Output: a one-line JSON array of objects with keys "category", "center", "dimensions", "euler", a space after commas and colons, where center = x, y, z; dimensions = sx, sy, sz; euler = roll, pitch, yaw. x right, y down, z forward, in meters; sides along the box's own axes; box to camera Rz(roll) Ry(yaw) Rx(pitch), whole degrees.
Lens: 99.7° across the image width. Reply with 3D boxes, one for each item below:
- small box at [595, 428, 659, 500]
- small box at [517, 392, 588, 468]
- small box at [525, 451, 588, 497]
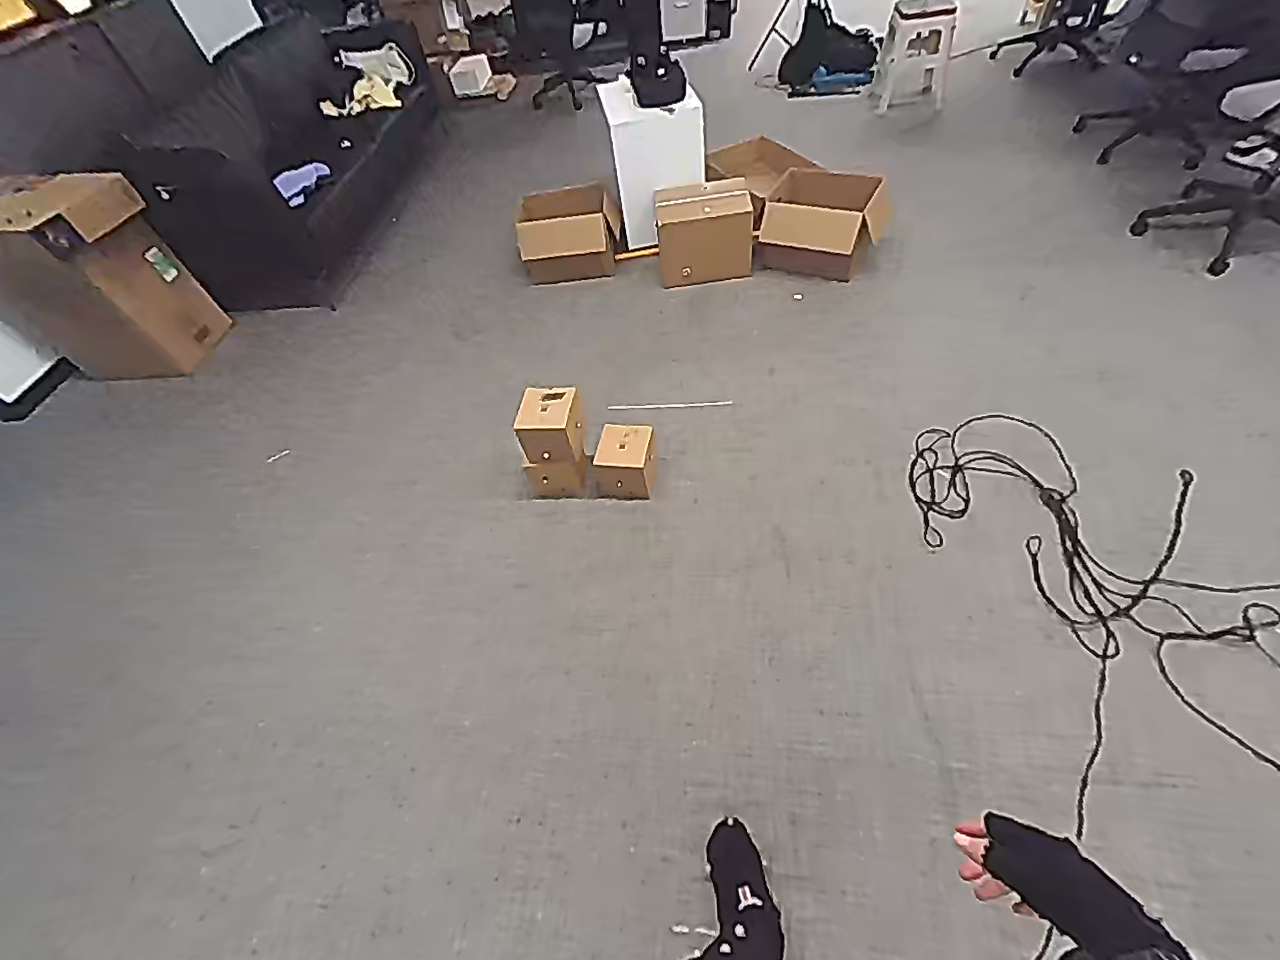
[{"category": "small box", "center": [-0.035, -0.050, 1.791], "dimensions": [0.168, 0.176, 0.179], "euler": [4, 53, 13]}, {"category": "small box", "center": [-0.268, -0.159, 1.709], "dimensions": [0.168, 0.176, 0.179], "euler": [1, 53, 11]}, {"category": "small box", "center": [-0.277, -0.053, 1.839], "dimensions": [0.168, 0.176, 0.179], "euler": [-5, 51, 7]}]
